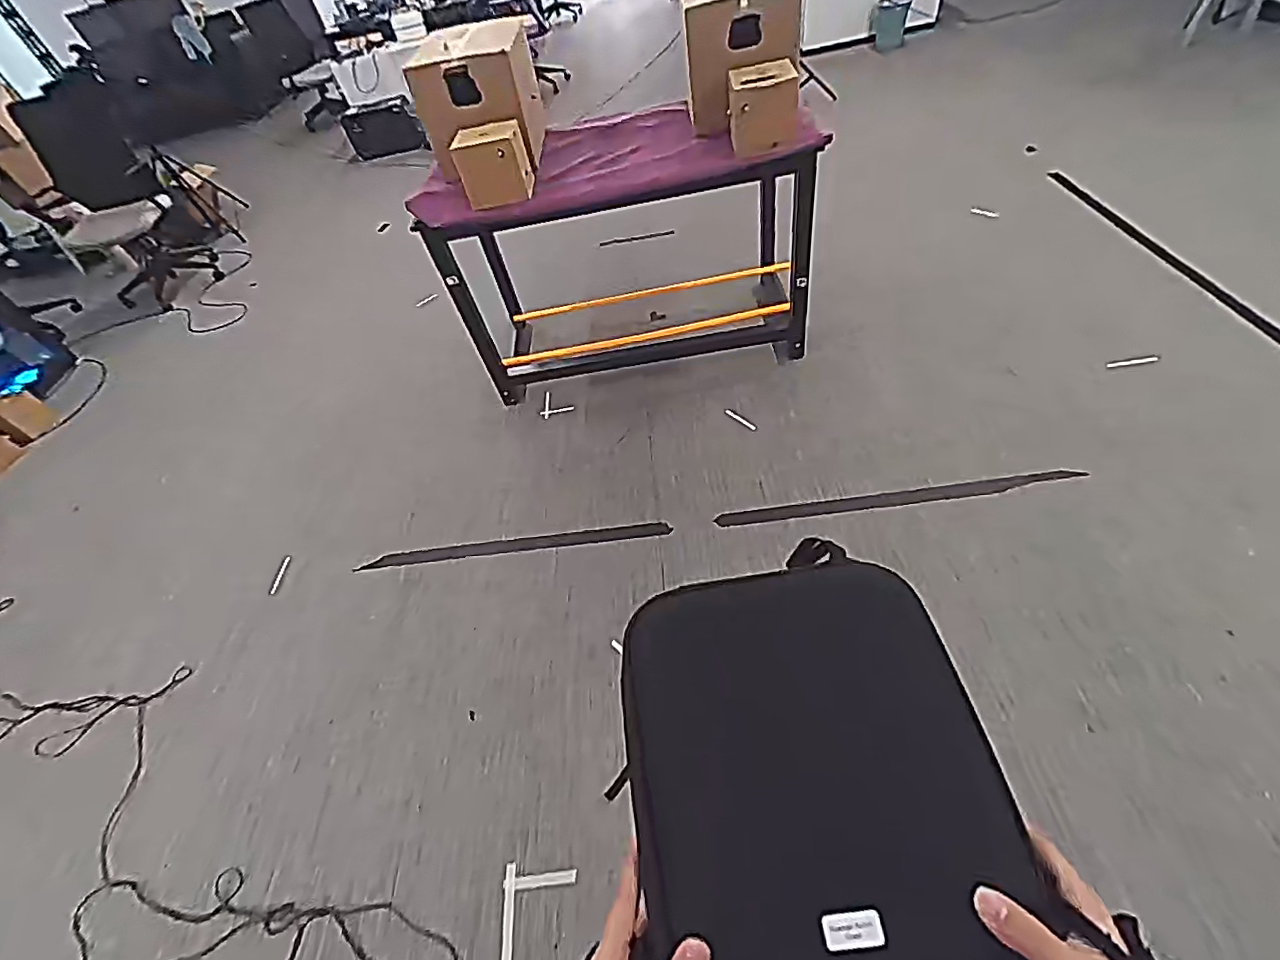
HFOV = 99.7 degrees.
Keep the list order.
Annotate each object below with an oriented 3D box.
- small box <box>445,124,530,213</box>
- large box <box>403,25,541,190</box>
[{"bbox_3d":[-0.436,-0.900,1.571,0.179,0.176,0.168,-9,48,4],"label":"small box"},{"bbox_3d":[-0.512,-1.202,1.745,0.320,0.320,0.408,-7,52,5],"label":"large box"}]
